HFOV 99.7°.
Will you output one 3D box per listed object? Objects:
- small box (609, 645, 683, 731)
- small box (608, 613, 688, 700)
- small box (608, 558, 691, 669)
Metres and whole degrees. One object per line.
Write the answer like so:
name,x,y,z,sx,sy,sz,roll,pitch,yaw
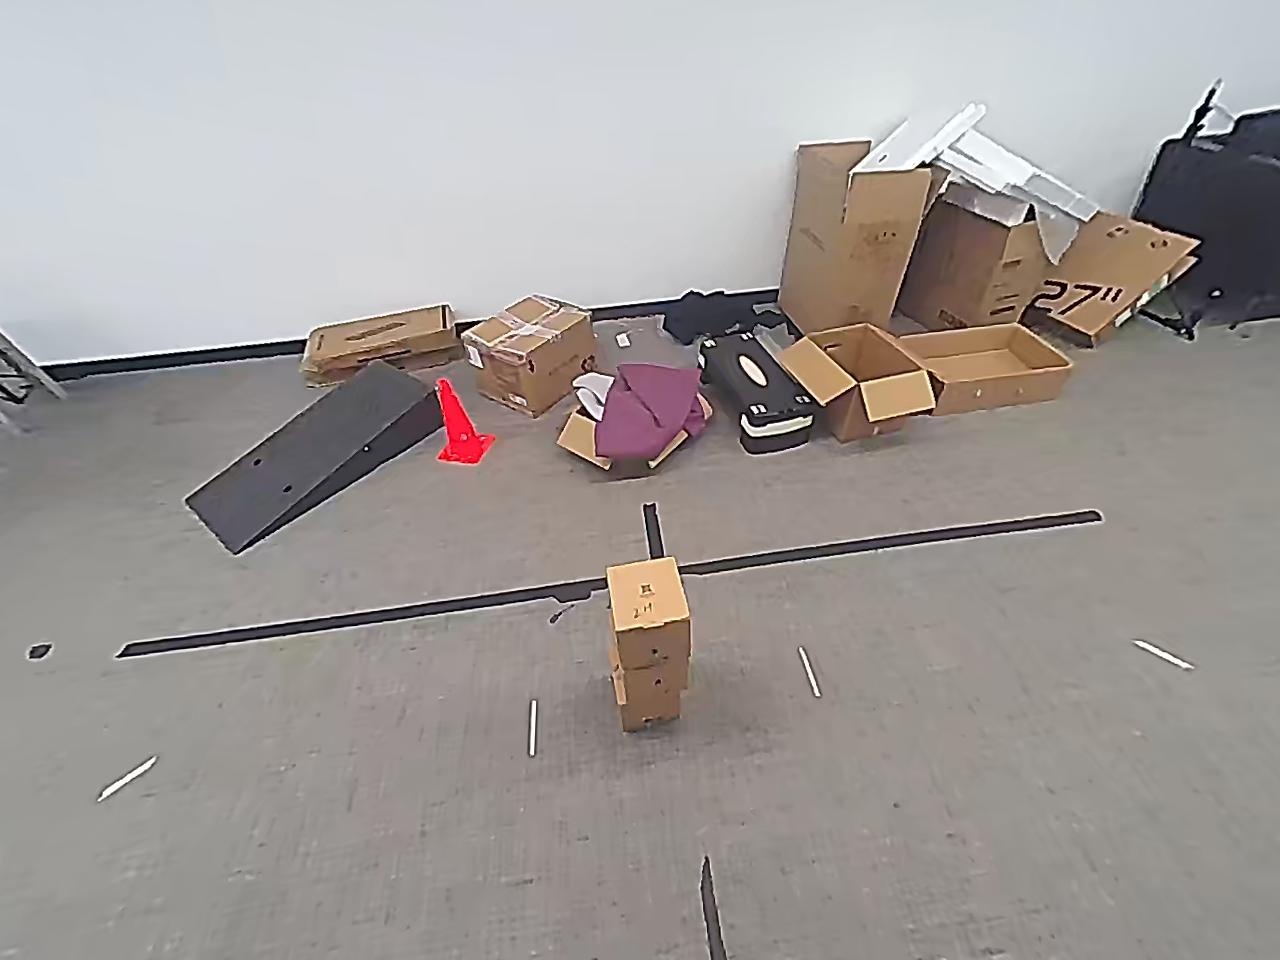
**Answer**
small box,0.015,0.557,1.486,0.168,0.176,0.179,-12,45,-7
small box,0.024,0.436,1.374,0.168,0.176,0.179,-12,44,-8
small box,0.021,0.312,1.264,0.168,0.176,0.179,-10,43,-4
